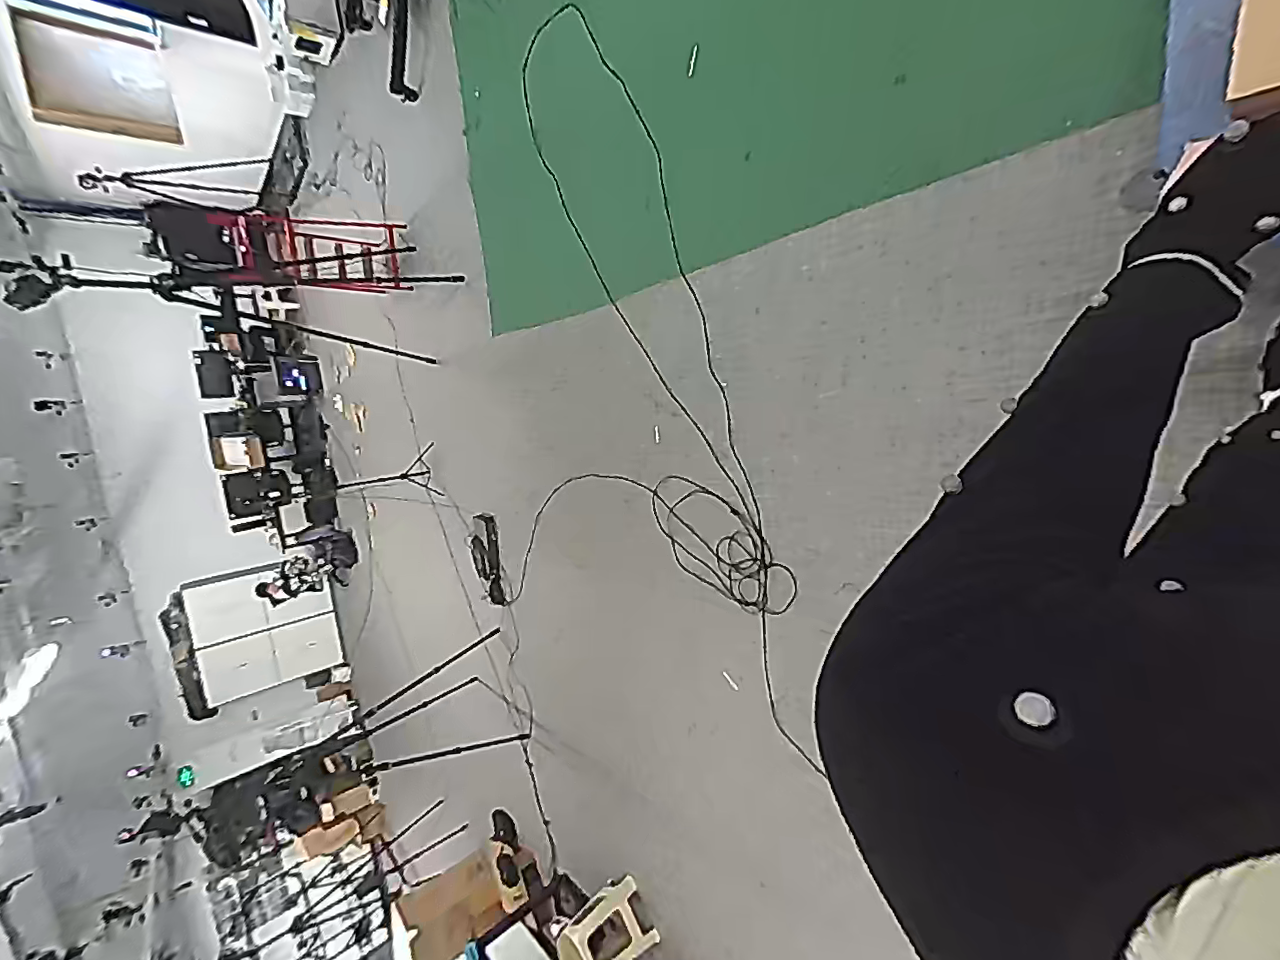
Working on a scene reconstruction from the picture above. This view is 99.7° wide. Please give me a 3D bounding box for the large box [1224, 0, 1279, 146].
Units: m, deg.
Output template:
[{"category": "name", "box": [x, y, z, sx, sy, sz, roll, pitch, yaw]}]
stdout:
[{"category": "large box", "box": [0.976, -0.706, 0.658, 0.320, 0.320, 0.408, 10, 107, 48]}]
